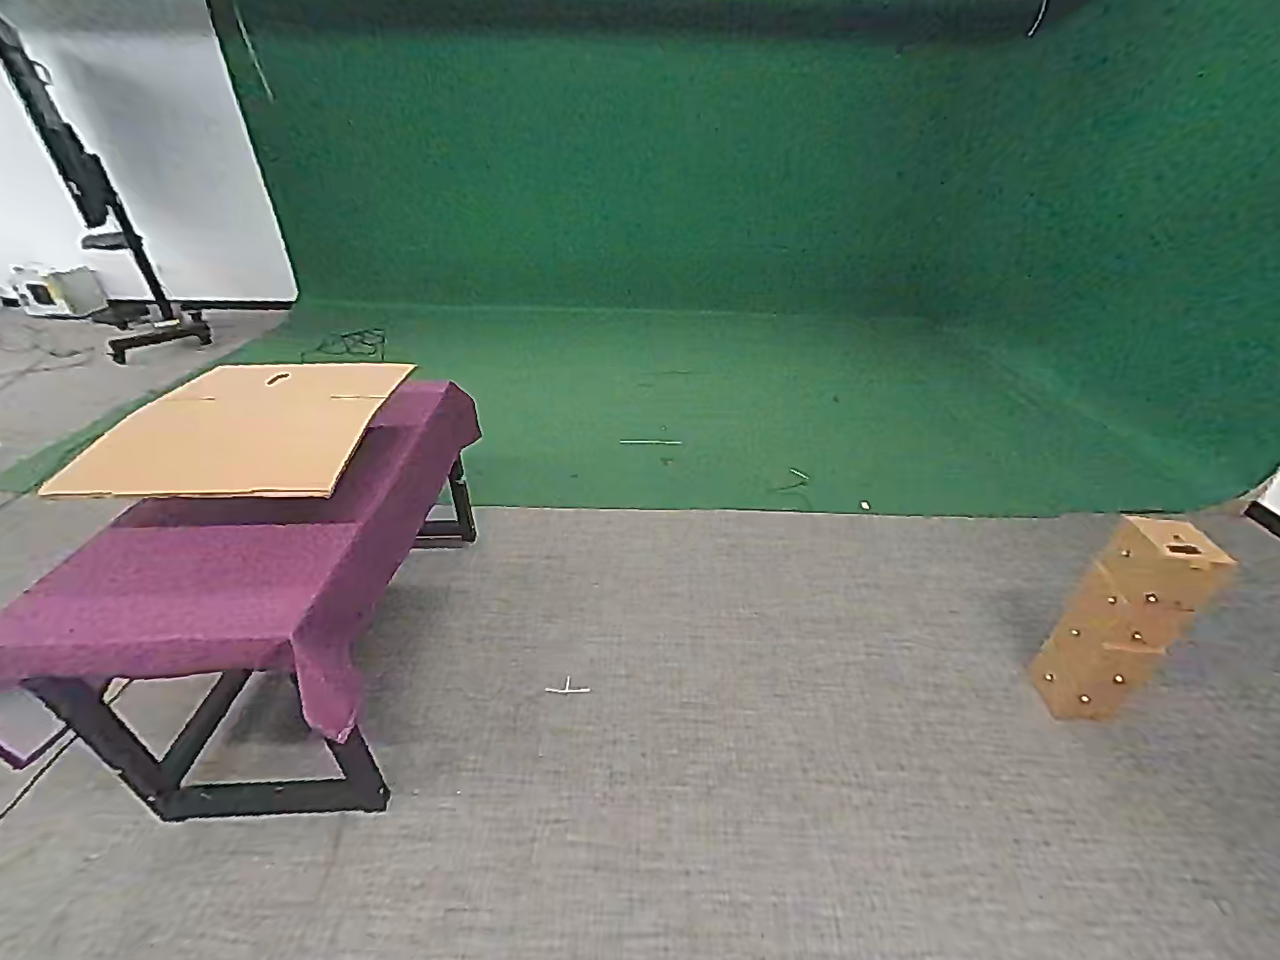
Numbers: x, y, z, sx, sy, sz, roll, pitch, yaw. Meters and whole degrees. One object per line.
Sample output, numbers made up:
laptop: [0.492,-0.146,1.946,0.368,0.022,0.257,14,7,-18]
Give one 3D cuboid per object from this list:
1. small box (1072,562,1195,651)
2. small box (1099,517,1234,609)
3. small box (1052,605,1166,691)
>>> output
small box: [1.396,0.360,1.547,0.168,0.176,0.179,4,34,6]
small box: [1.401,0.224,1.454,0.168,0.176,0.179,6,32,7]
small box: [1.394,0.503,1.625,0.168,0.176,0.179,2,33,4]
